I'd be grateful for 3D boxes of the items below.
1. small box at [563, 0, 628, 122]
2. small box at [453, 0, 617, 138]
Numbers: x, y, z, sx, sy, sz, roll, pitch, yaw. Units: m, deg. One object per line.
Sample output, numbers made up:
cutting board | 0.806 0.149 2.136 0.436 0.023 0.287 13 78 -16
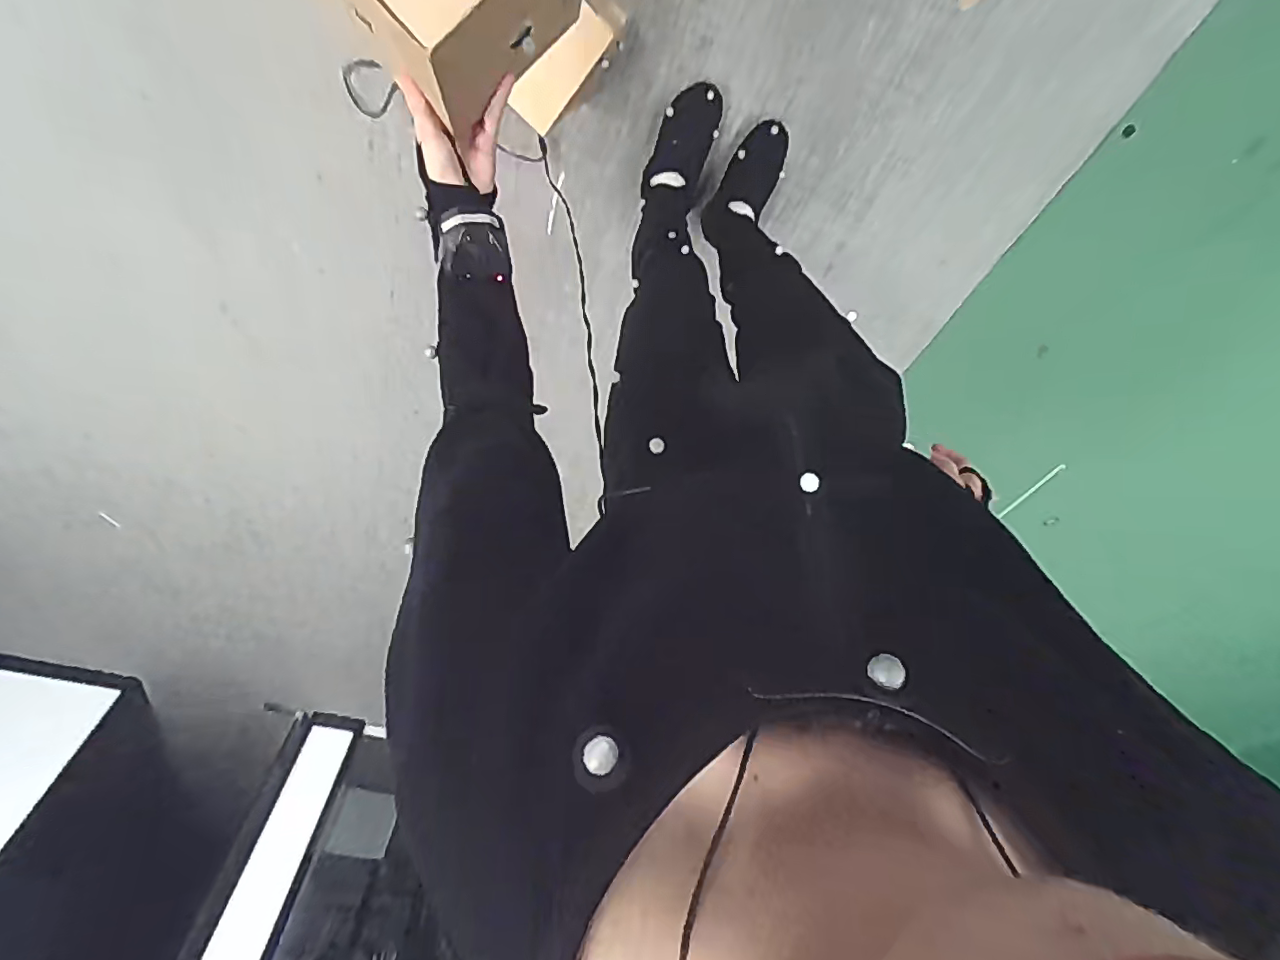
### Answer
small box | -0.134 -0.779 0.945 0.168 0.176 0.179 31 128 -22
small box | -0.149 -0.672 0.825 0.168 0.176 0.179 36 124 -25
